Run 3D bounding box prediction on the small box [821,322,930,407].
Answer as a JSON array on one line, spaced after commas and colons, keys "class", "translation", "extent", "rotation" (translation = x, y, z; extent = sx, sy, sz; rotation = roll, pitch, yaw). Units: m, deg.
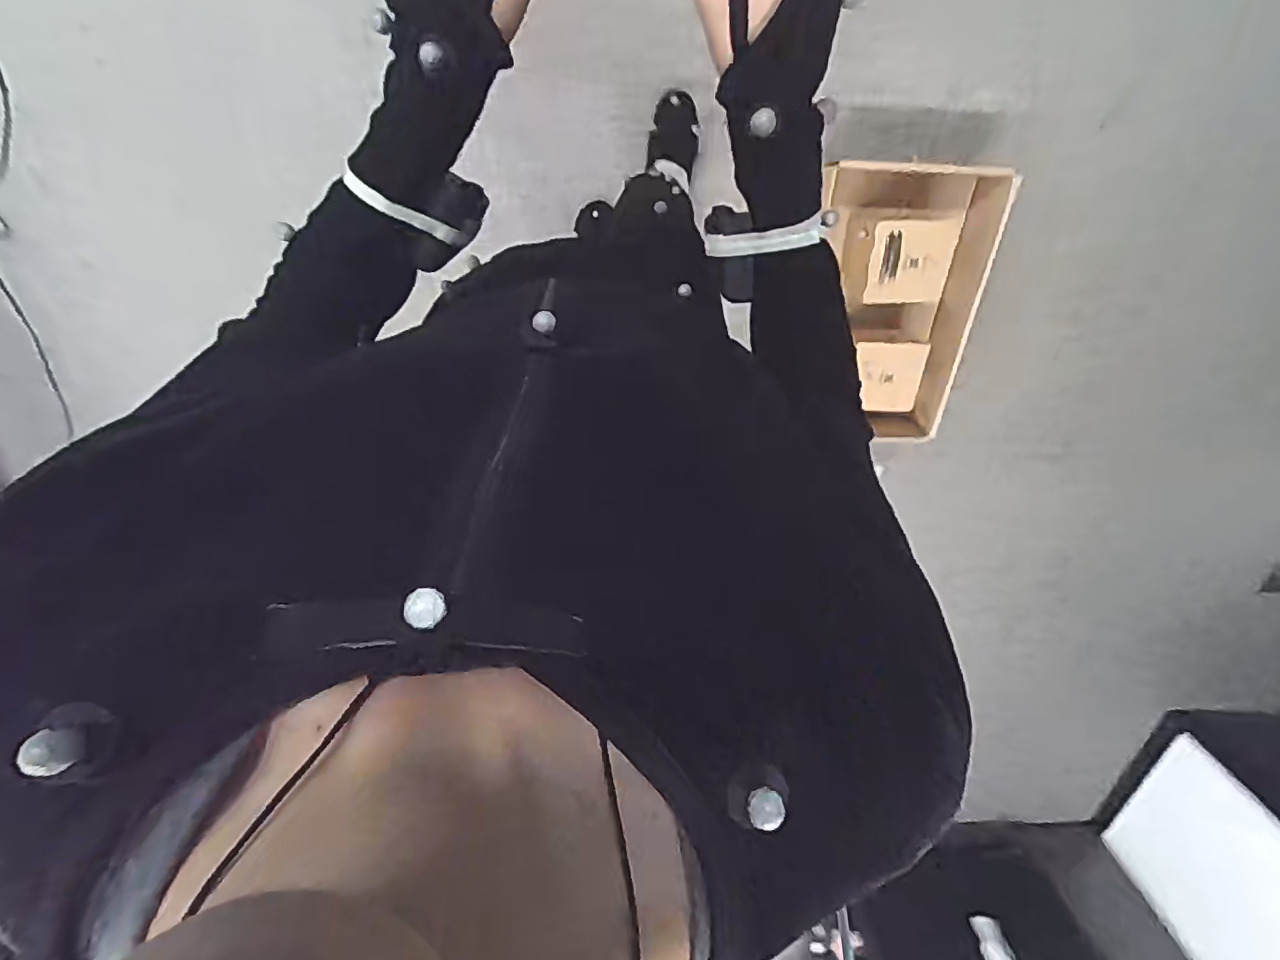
[{"class": "small box", "translation": [0.573, -0.290, 1.340], "extent": [0.179, 0.176, 0.168], "rotation": [2, 118, -2]}]
